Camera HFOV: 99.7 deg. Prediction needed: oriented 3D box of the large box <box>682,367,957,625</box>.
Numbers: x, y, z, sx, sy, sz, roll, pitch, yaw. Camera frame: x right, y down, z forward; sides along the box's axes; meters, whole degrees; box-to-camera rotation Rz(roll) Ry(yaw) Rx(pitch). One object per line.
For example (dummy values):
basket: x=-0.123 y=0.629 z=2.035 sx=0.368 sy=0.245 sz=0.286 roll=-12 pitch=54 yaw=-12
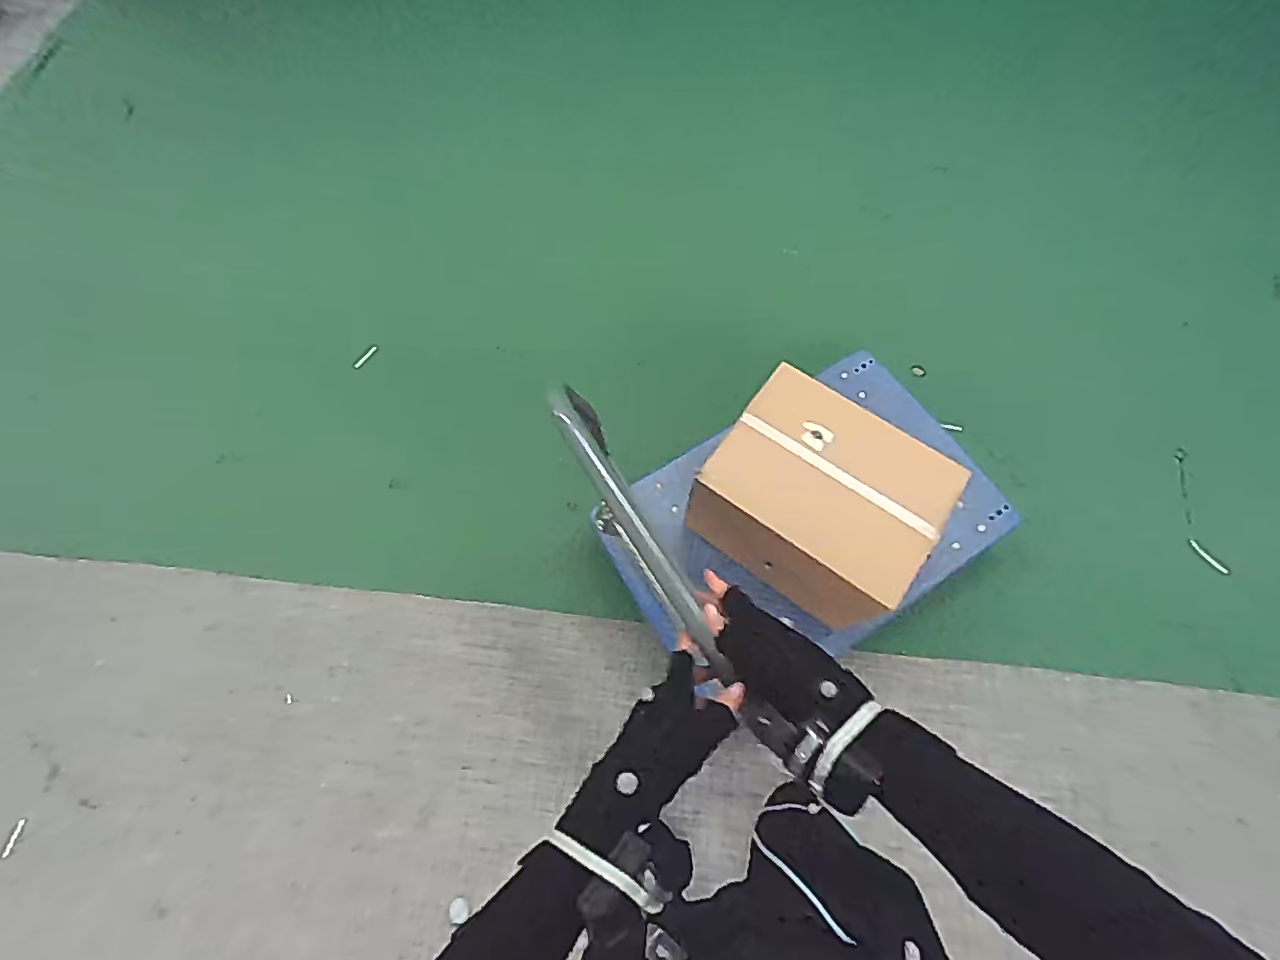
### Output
large box: x=0.339 y=0.049 z=1.130 sx=0.408 sy=0.320 sz=0.320 roll=35 pitch=73 yaw=14
